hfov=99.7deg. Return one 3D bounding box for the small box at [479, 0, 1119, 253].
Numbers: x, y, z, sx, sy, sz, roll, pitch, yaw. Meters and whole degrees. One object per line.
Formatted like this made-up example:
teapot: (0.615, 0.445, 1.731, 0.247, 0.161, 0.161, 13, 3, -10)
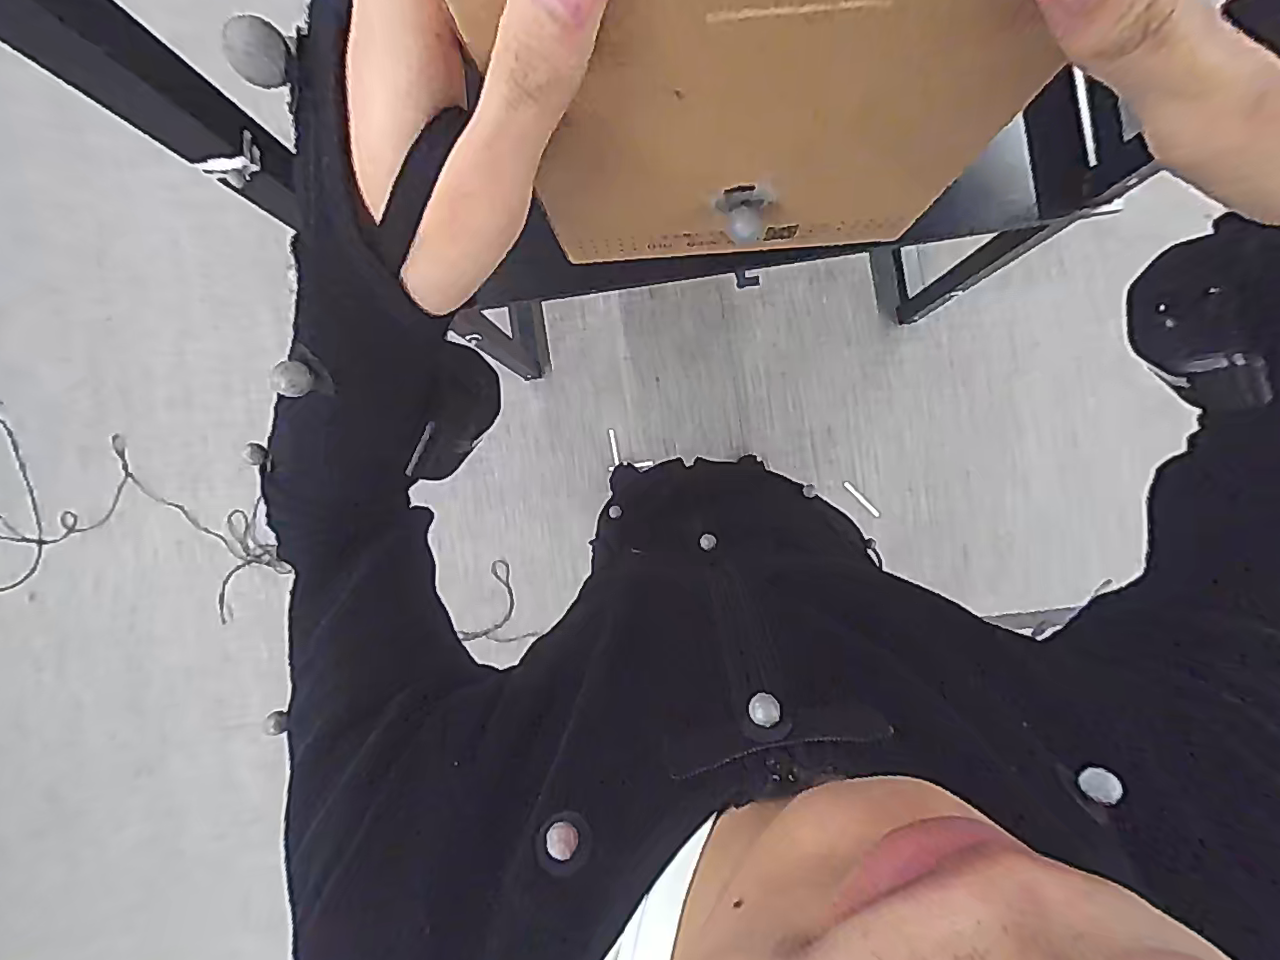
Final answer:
small box: (0.037, -0.201, 0.186, 0.168, 0.176, 0.179, -2, 91, 4)
